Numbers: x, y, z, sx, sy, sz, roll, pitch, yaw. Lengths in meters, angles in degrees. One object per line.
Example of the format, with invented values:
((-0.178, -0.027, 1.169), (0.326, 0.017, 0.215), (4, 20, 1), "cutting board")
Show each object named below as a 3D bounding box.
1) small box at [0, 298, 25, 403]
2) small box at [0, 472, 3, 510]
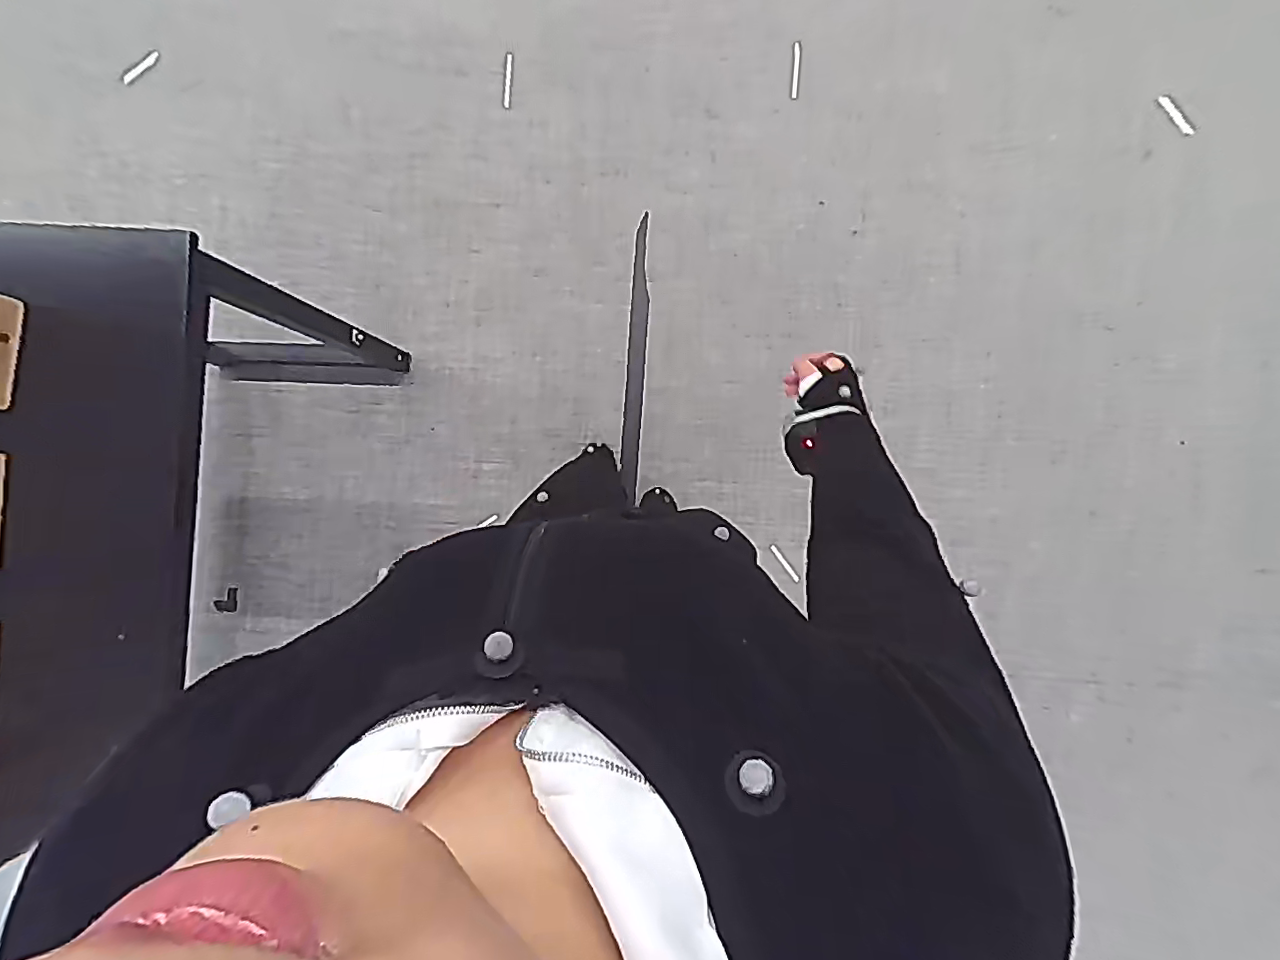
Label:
((-1.023, -0.199, 0.734), (0.179, 0.176, 0.168), (9, 90, 4), "small box")
((-1.040, 0.042, 0.734), (0.168, 0.176, 0.179), (4, 90, 4), "small box")
